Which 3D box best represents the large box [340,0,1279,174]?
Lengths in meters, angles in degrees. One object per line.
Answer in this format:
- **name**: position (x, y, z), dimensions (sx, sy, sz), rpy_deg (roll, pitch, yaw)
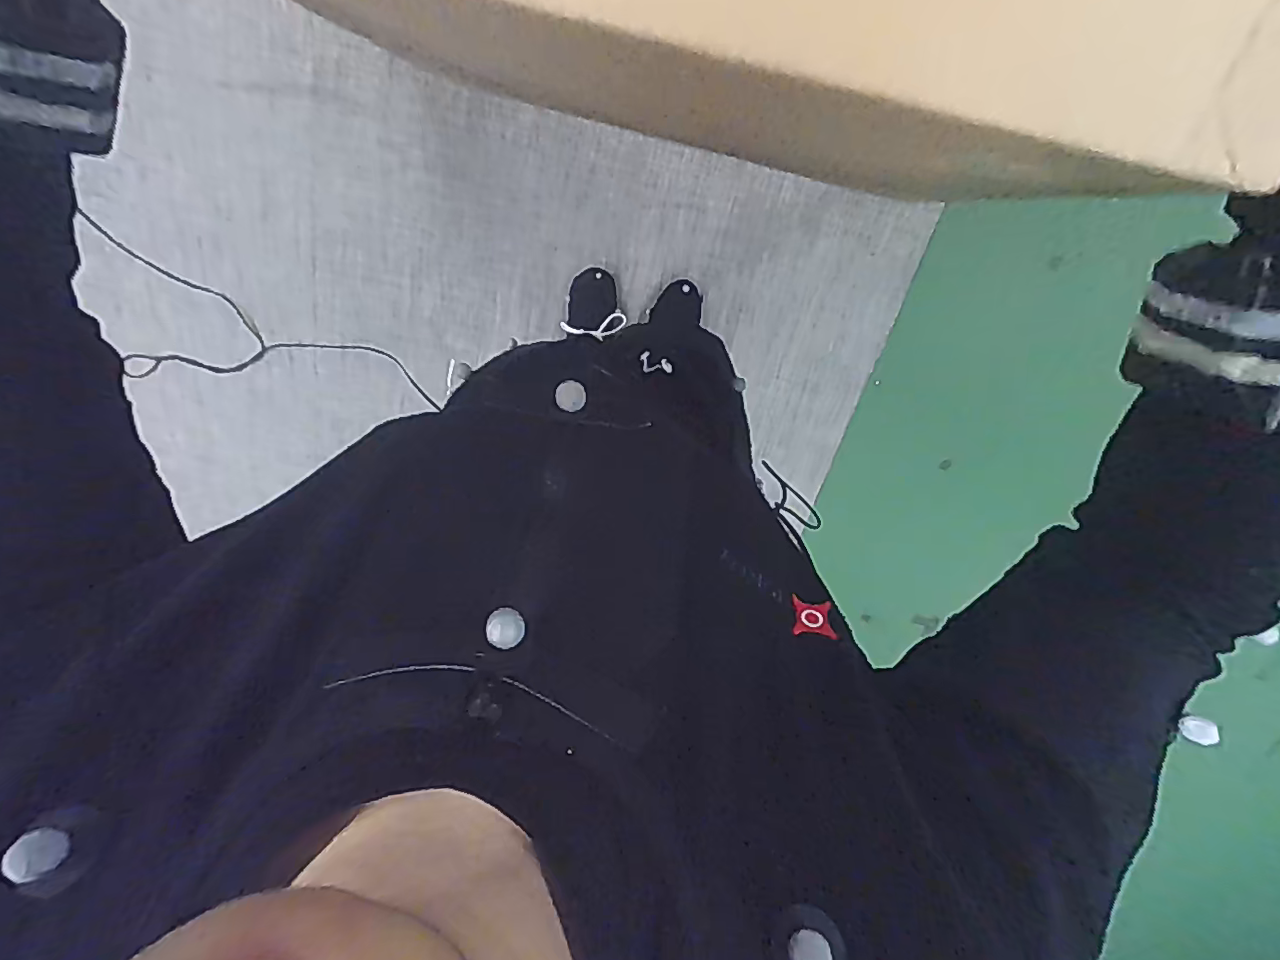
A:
- **large box**: position (0.058, -0.359, 0.245), dimensions (0.408, 0.320, 0.320), rpy_deg (12, 117, -2)
